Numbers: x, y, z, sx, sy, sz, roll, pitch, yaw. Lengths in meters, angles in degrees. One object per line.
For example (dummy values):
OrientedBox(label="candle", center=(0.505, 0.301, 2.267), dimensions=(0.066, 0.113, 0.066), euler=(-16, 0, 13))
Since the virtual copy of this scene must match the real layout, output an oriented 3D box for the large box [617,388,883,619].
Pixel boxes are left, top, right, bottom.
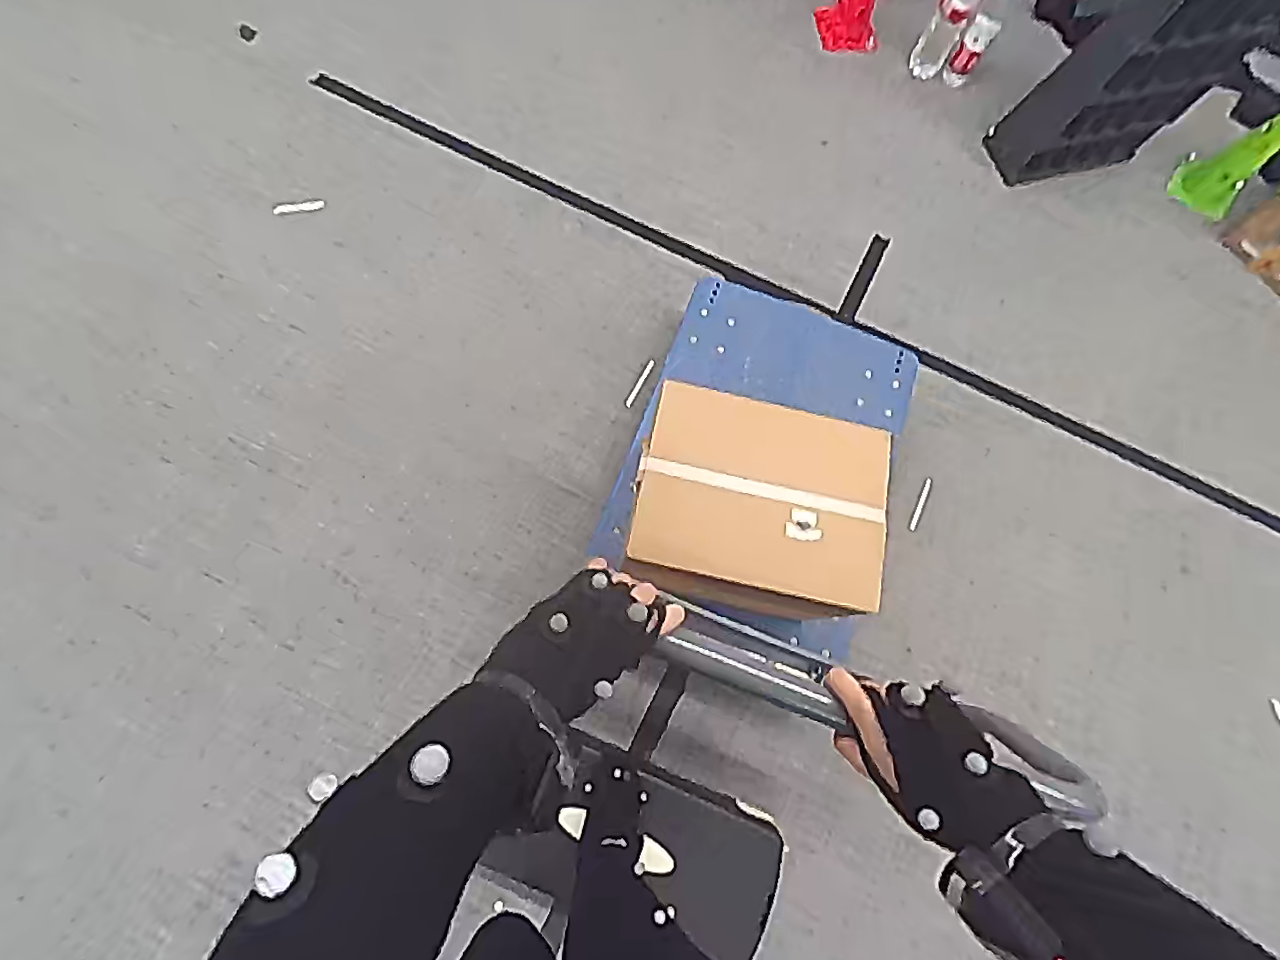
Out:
OrientedBox(label="large box", center=(0.186, 0.067, 1.028), dimensions=(0.408, 0.320, 0.320), euler=(13, 73, -2))
